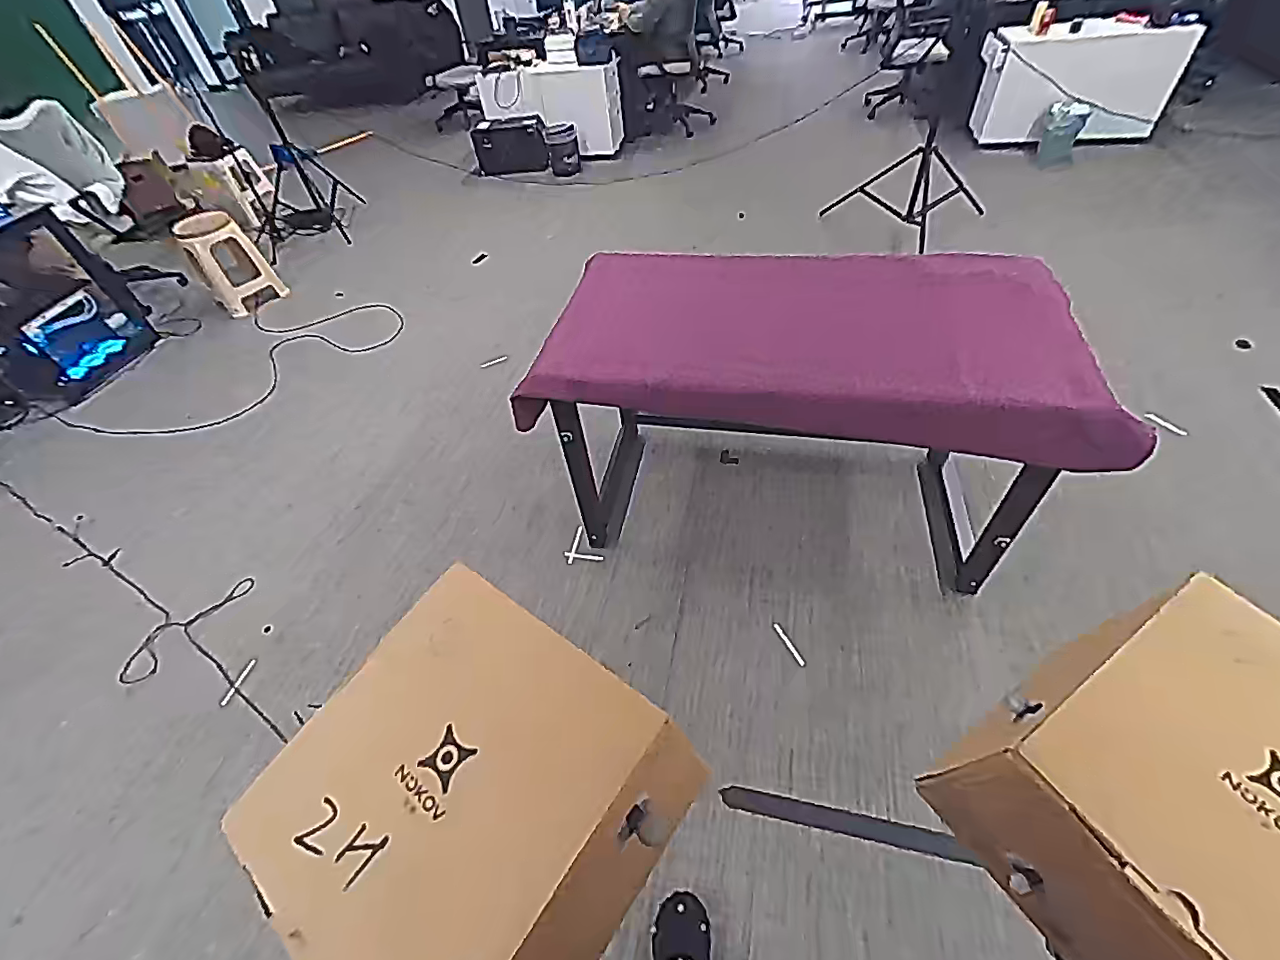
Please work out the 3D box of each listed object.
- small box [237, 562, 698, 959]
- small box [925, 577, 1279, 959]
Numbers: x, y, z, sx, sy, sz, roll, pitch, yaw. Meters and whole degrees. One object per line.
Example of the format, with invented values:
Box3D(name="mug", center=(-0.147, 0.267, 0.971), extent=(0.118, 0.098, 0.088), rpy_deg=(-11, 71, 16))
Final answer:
Box3D(name="small box", center=(-0.078, 0.189, 0.333), extent=(0.168, 0.176, 0.179), rpy_deg=(26, 66, 30))
Box3D(name="small box", center=(0.318, 0.197, 0.335), extent=(0.179, 0.176, 0.168), rpy_deg=(-32, 59, -14))
